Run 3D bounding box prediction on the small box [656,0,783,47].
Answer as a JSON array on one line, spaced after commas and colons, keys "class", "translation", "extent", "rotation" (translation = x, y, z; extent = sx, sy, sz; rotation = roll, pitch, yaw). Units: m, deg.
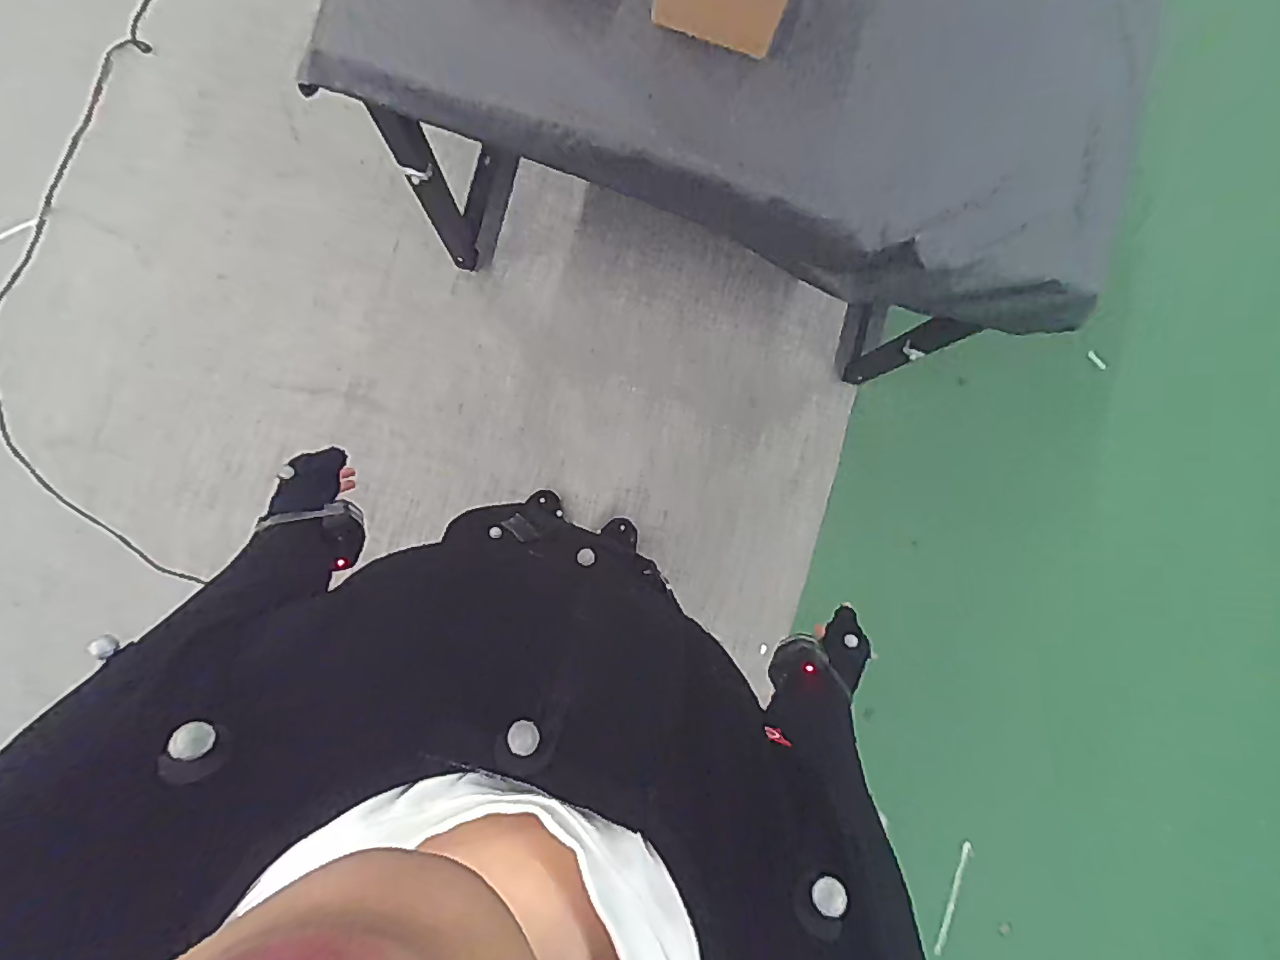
[{"class": "small box", "translation": [0.128, -0.735, 0.719], "extent": [0.179, 0.176, 0.168], "rotation": [15, 87, -6]}]
